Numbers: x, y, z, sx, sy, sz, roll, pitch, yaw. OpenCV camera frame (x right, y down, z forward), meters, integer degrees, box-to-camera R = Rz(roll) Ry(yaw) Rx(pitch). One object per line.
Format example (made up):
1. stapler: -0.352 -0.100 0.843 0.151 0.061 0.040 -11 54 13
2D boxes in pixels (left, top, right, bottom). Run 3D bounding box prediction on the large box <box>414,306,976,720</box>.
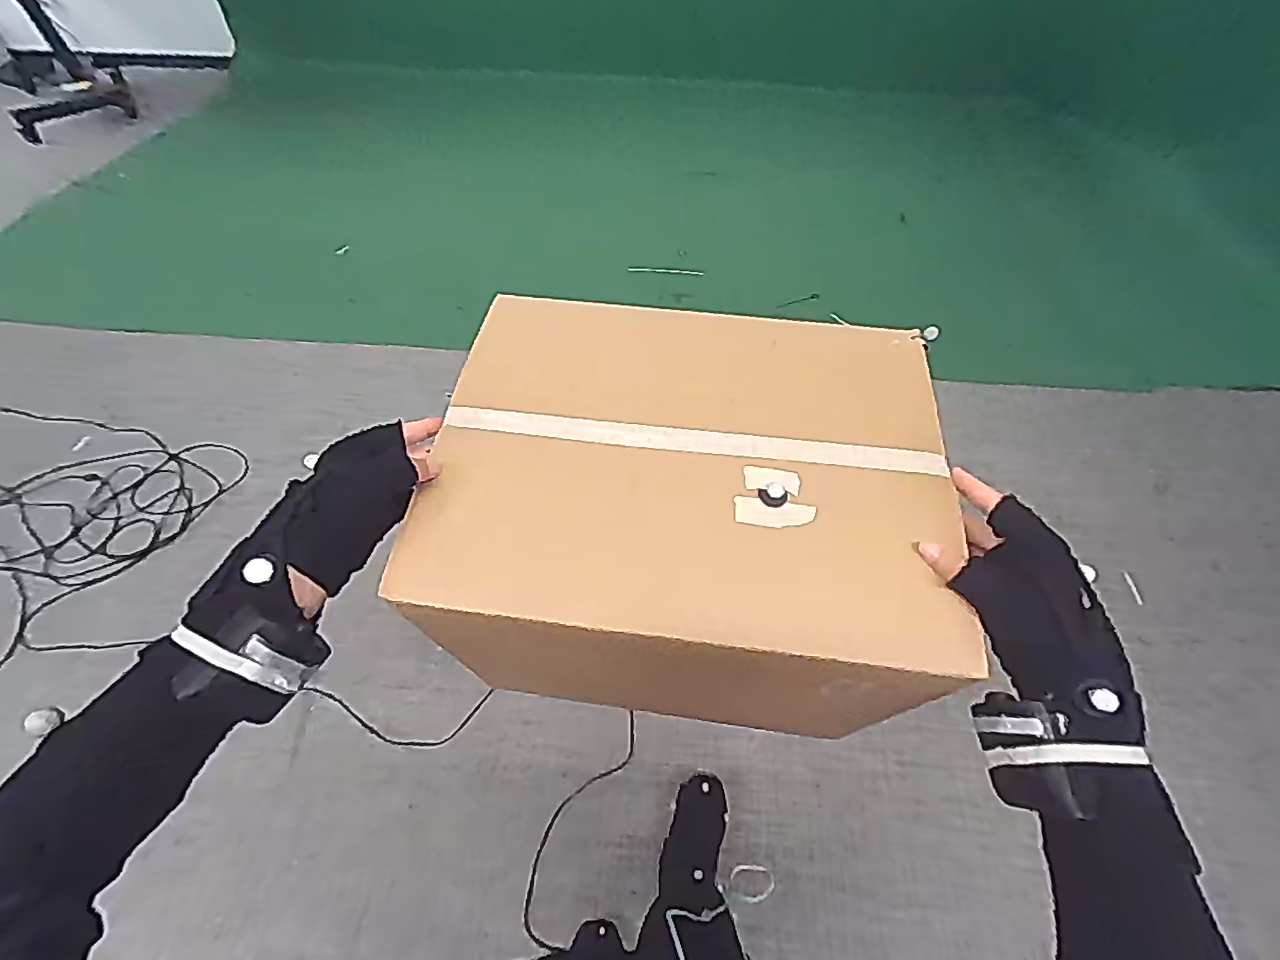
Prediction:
1. large box: 0.047 0.049 0.579 0.408 0.320 0.320 6 59 3
